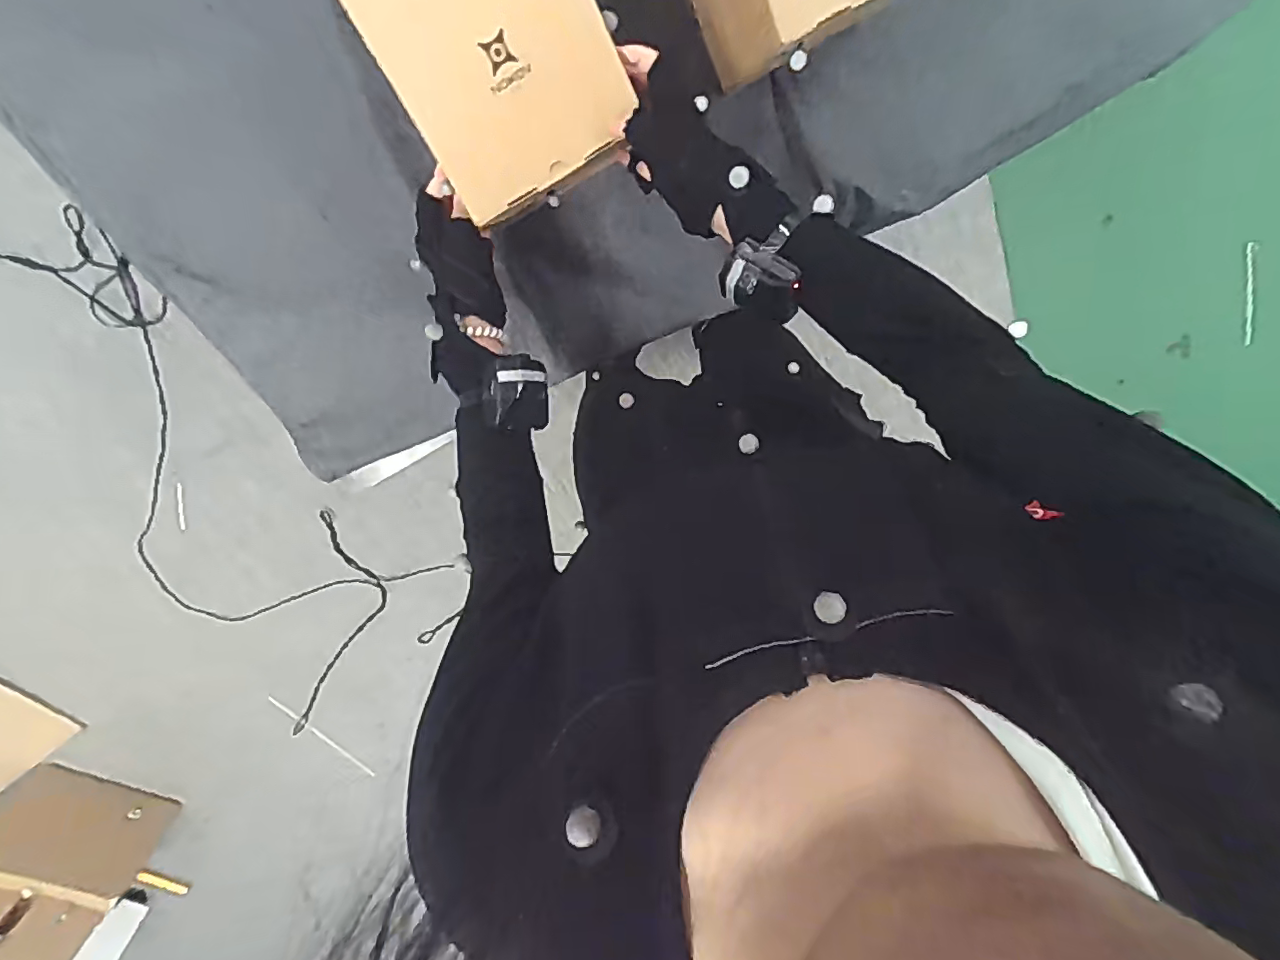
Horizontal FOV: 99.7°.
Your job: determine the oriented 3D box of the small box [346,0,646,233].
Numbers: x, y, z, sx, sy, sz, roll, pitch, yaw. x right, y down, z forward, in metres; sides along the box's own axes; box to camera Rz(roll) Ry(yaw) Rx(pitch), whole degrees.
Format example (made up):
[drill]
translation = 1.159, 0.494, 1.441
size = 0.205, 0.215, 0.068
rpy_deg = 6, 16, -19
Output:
[small box]
translation = -0.115, -0.344, 0.489
size = 0.168, 0.176, 0.179
rpy_deg = -29, 115, 5
